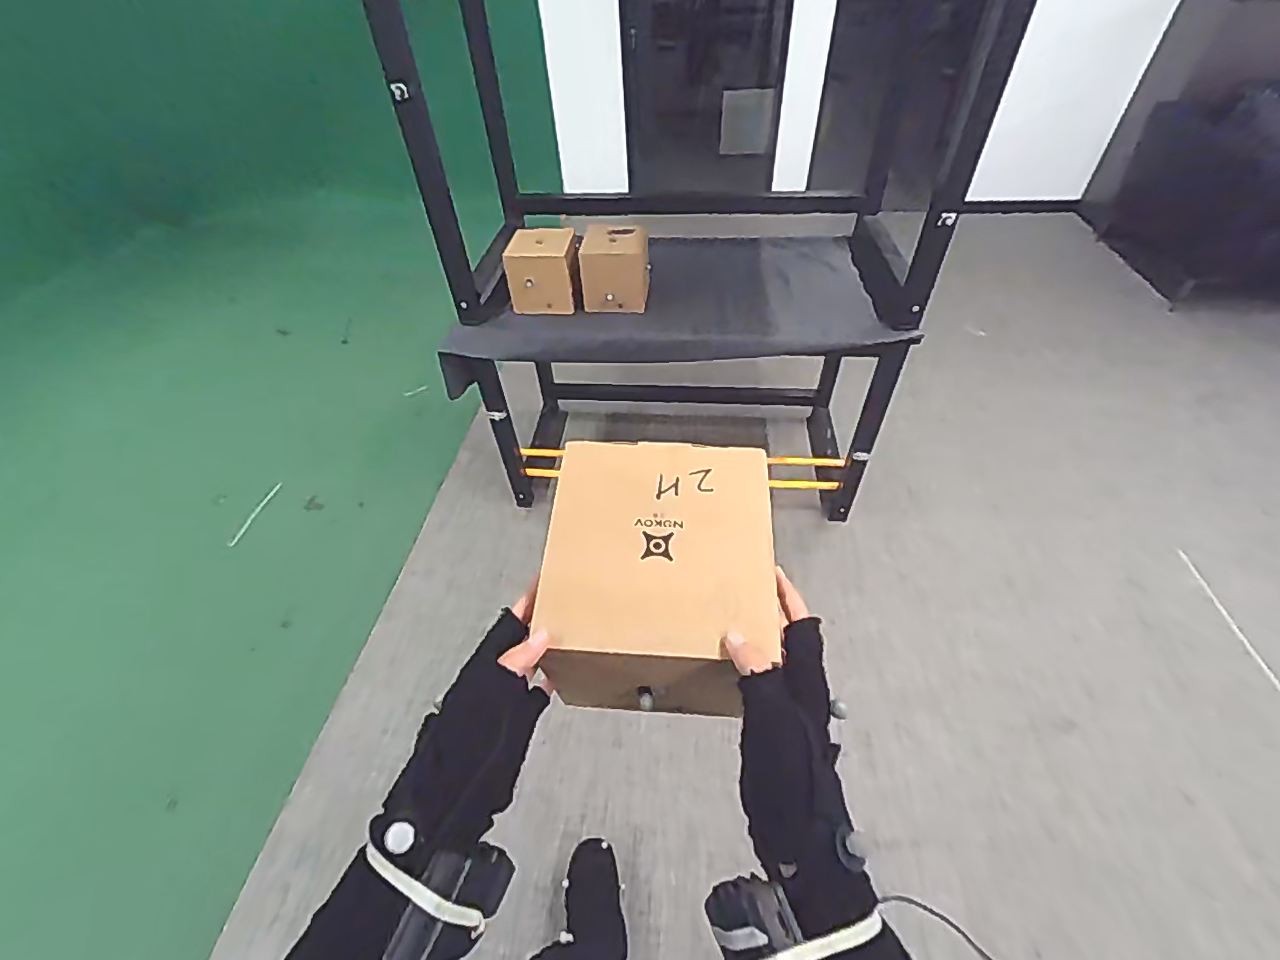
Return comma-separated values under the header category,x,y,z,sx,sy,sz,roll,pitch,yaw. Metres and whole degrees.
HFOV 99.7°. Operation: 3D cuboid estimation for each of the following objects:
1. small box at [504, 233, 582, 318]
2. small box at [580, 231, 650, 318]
category,x,y,z,sx,sy,sz,roll,pitch,yaw
small box,-0.258,-0.562,1.492,0.168,0.176,0.179,2,45,4
small box,-0.061,-0.565,1.482,0.168,0.176,0.179,2,46,6
